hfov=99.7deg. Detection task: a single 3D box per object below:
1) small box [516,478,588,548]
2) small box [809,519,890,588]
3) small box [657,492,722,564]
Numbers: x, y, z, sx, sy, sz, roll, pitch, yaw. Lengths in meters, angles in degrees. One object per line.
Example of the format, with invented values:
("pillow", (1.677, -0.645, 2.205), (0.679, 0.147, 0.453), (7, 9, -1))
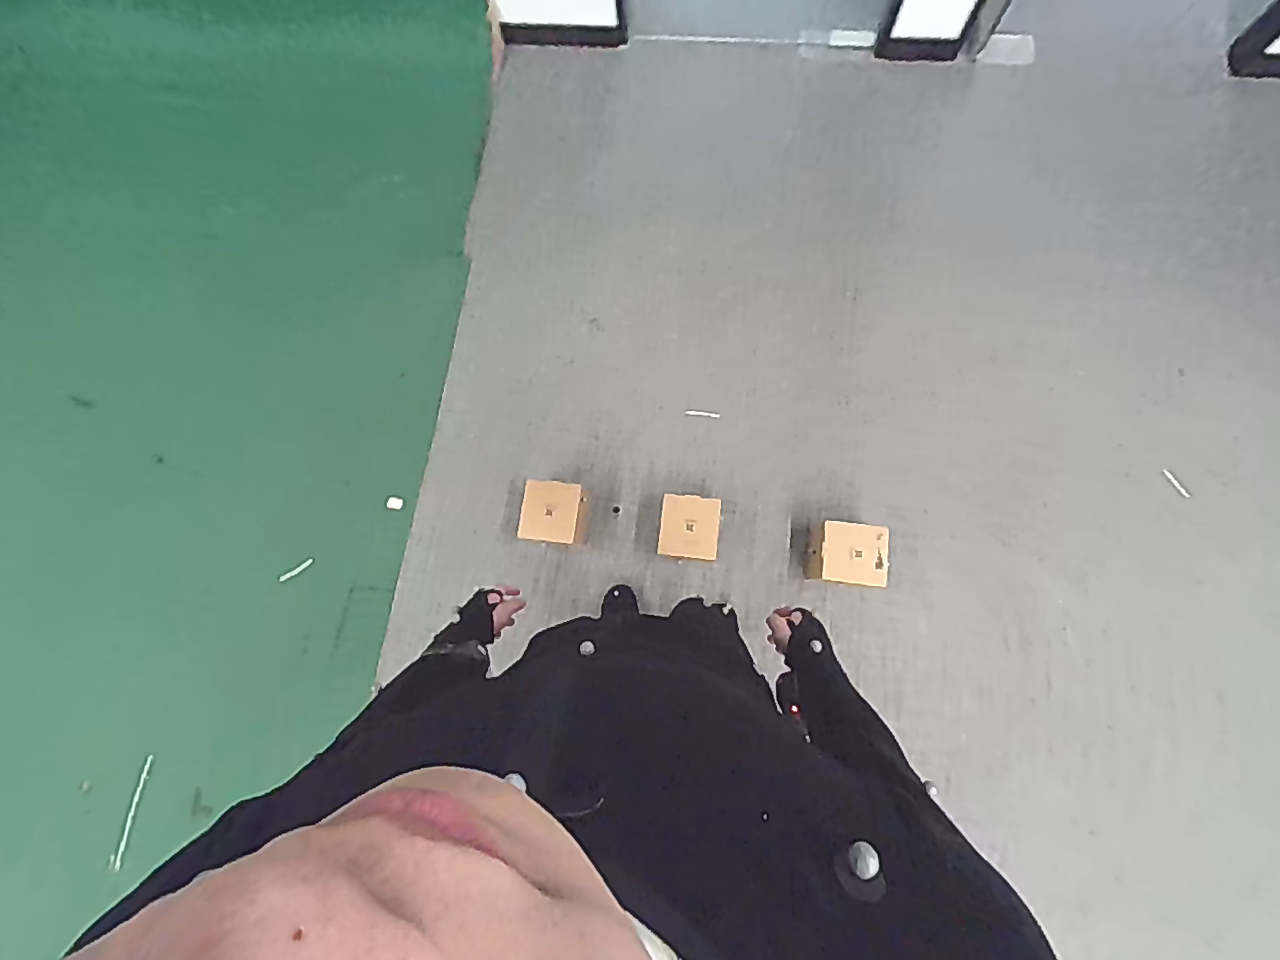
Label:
("small box", (-0.254, 0.104, 1.608), (0.168, 0.176, 0.179), (6, 78, 5))
("small box", (0.587, 0.213, 1.532), (0.179, 0.176, 0.168), (7, 79, 5))
("small box", (0.142, 0.144, 1.576), (0.168, 0.176, 0.179), (6, 79, 5))
